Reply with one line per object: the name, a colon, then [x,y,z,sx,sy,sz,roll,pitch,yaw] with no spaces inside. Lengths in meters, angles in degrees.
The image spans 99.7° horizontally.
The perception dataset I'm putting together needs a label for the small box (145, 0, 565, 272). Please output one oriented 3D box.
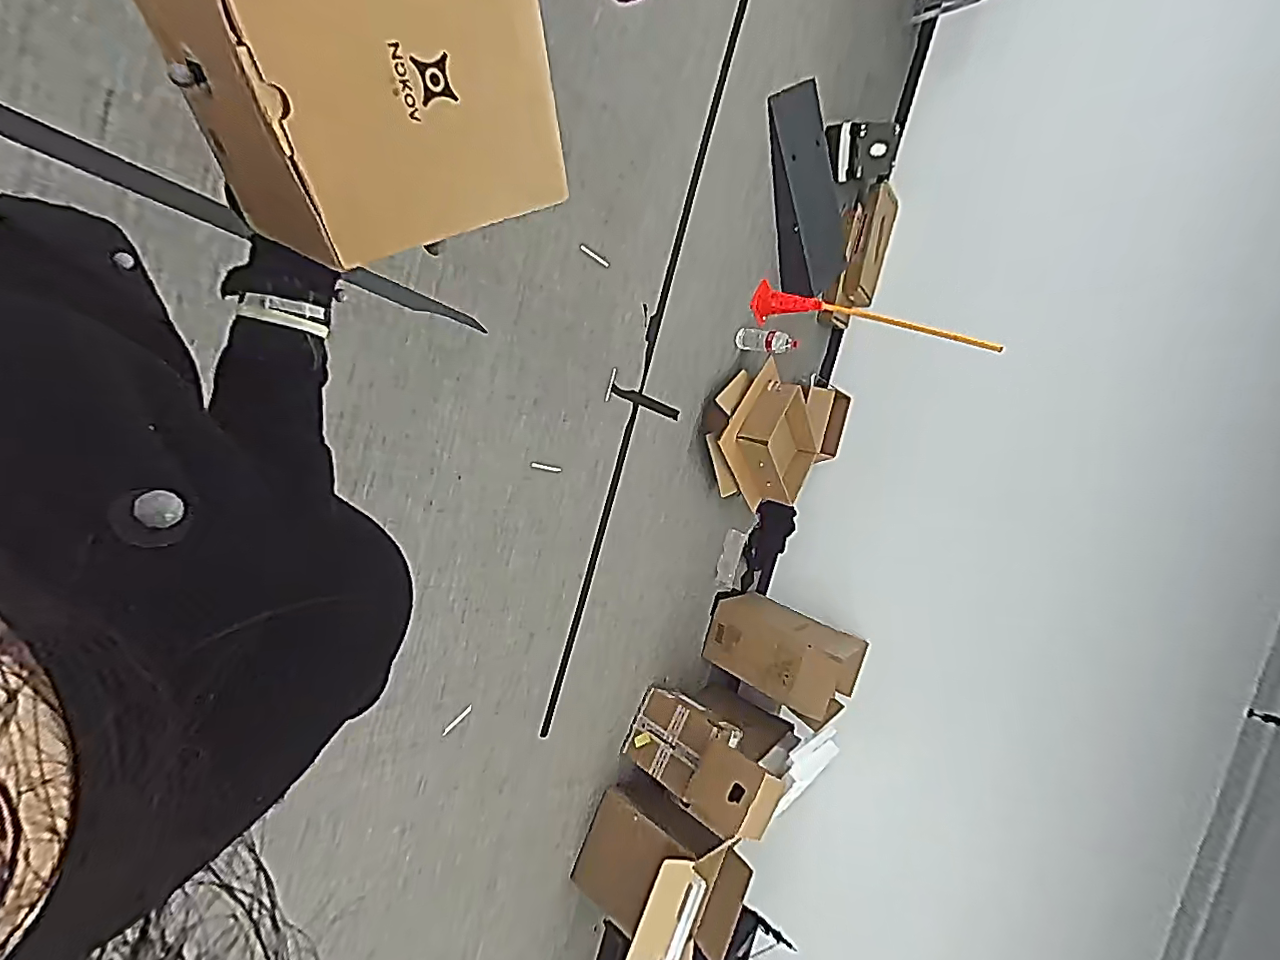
small box: [-0.179,-0.262,0.361,0.179,0.176,0.168,-36,139,-30]
